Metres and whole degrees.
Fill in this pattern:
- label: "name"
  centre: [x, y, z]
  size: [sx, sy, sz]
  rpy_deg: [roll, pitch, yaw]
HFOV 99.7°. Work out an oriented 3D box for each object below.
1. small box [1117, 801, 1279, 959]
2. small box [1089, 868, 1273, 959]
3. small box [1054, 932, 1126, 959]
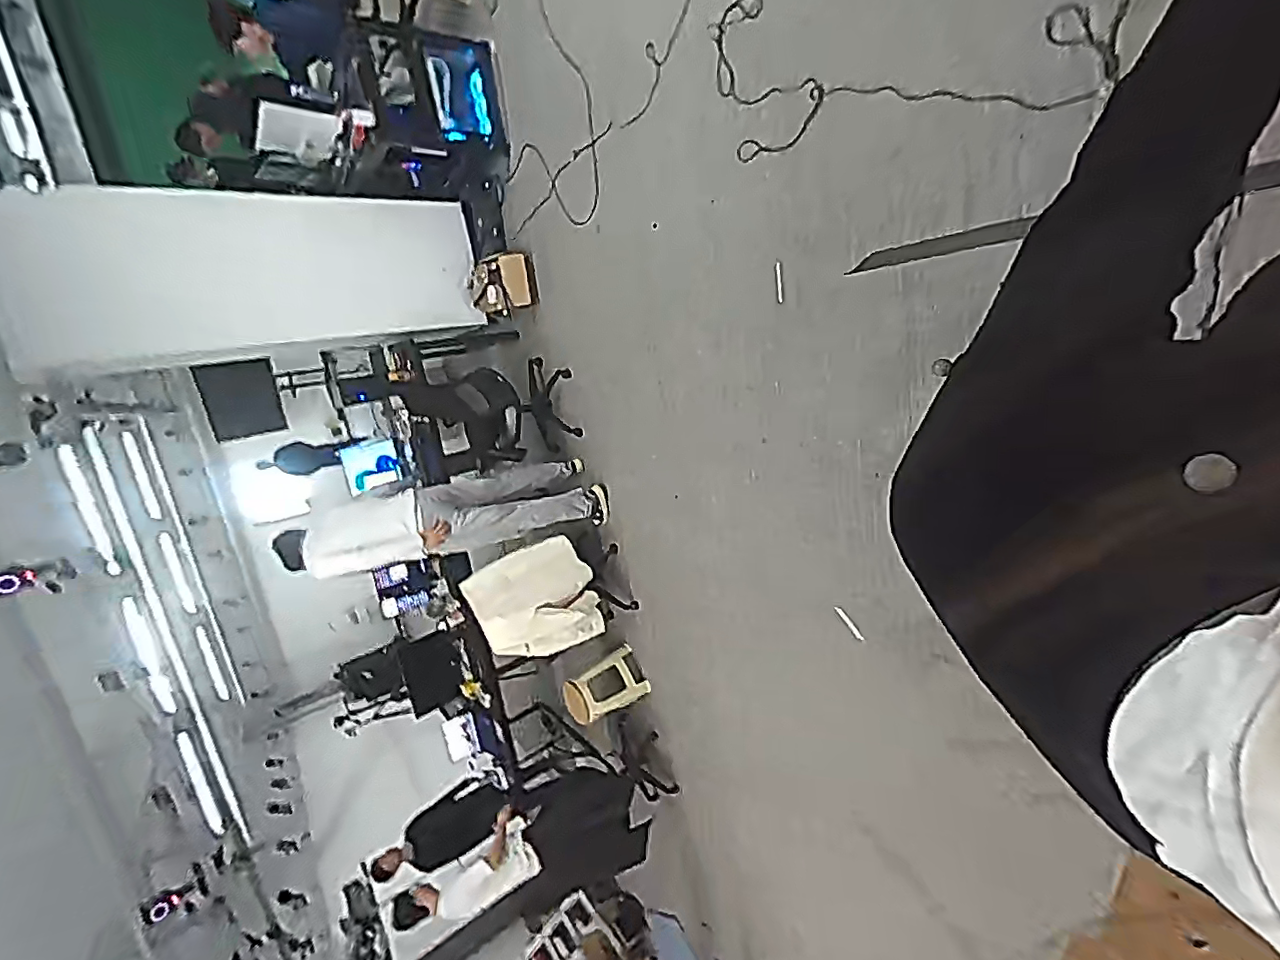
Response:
- label: "small box"
  centre: [0.878, 0.662, 0.850]
  size: [0.168, 0.176, 0.179]
  rpy_deg: [5, 110, 52]
- label: "small box"
  centre: [0.749, 0.705, 0.757]
  size: [0.168, 0.176, 0.179]
  rpy_deg: [7, 111, 53]
- label: "small box"
  centre: [0.612, 0.735, 0.673]
  size: [0.168, 0.176, 0.179]
  rpy_deg: [-1, 105, 55]
